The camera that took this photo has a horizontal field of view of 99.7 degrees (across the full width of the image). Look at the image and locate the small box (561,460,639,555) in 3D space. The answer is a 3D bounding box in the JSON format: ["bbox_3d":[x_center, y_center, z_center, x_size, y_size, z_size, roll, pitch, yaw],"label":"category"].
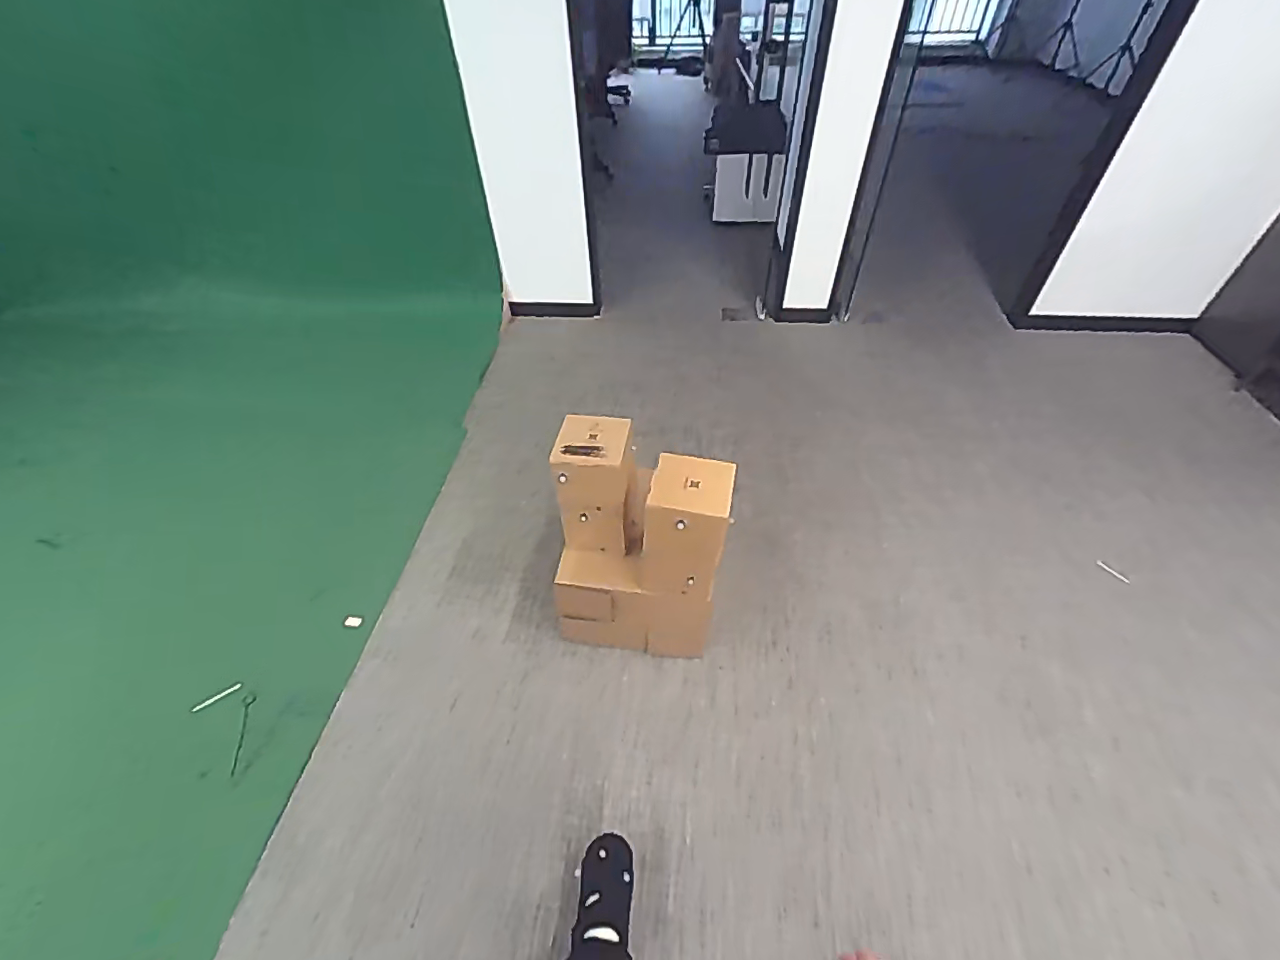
[{"bbox_3d":[-0.100,0.072,1.440,0.168,0.176,0.179,7,45,10],"label":"small box"}]

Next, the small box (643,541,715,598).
[{"bbox_3d":[0.105,0.169,1.339,0.168,0.176,0.179,9,45,8],"label":"small box"}]

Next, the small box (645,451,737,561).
[{"bbox_3d":[0.113,0.062,1.216,0.179,0.176,0.168,9,46,9],"label":"small box"}]
